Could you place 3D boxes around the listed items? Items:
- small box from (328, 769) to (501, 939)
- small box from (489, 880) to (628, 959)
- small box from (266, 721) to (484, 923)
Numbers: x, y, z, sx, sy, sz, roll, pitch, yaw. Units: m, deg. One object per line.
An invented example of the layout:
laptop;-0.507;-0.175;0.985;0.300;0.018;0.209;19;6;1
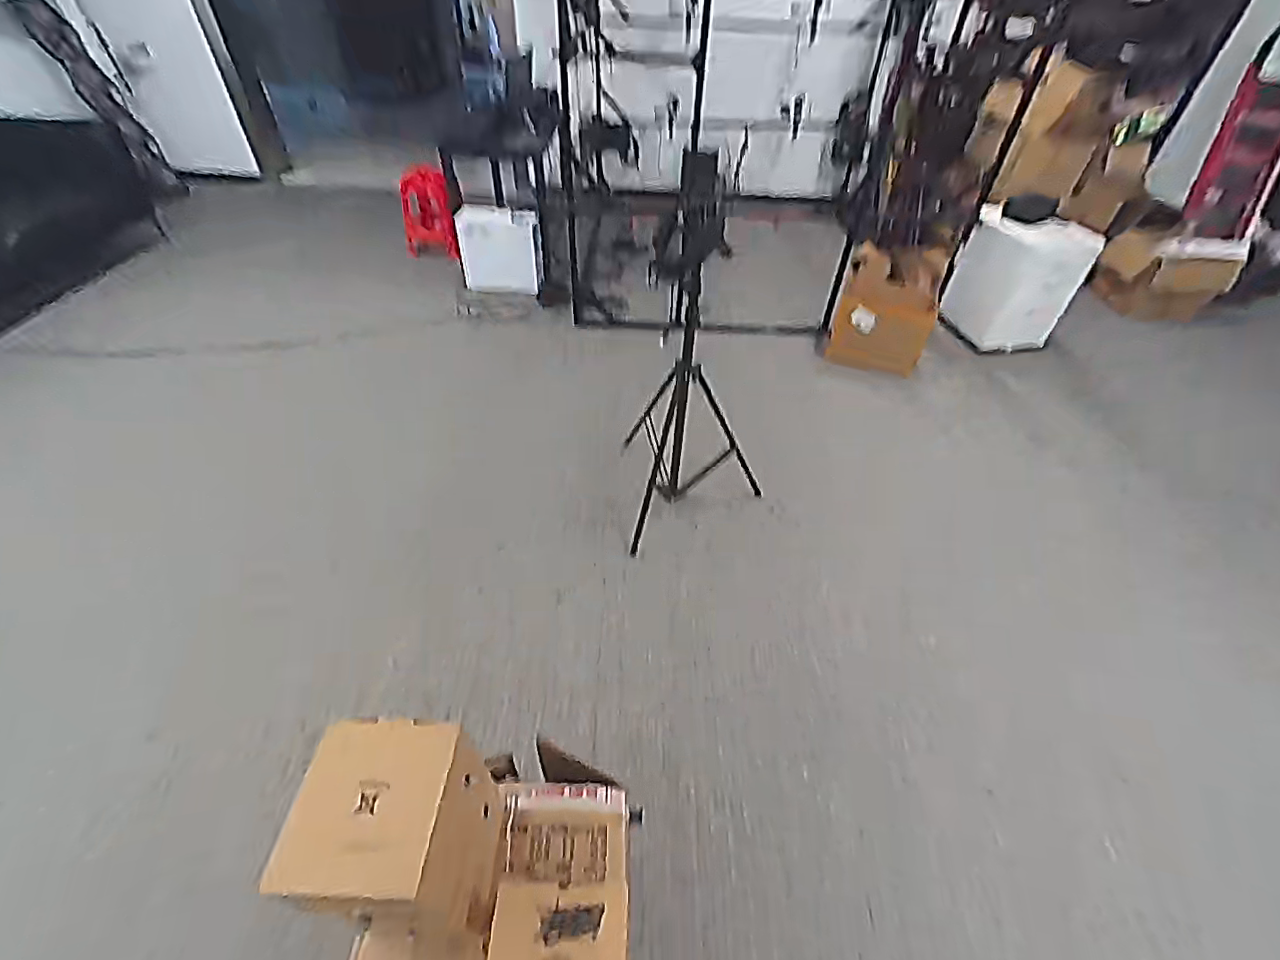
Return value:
small box;-0.306;0.536;0.780;0.168;0.176;0.179;1;45;1
small box;-0.103;0.635;0.689;0.168;0.176;0.179;3;45;-1
small box;-0.301;0.420;0.665;0.168;0.176;0.179;0;45;1
